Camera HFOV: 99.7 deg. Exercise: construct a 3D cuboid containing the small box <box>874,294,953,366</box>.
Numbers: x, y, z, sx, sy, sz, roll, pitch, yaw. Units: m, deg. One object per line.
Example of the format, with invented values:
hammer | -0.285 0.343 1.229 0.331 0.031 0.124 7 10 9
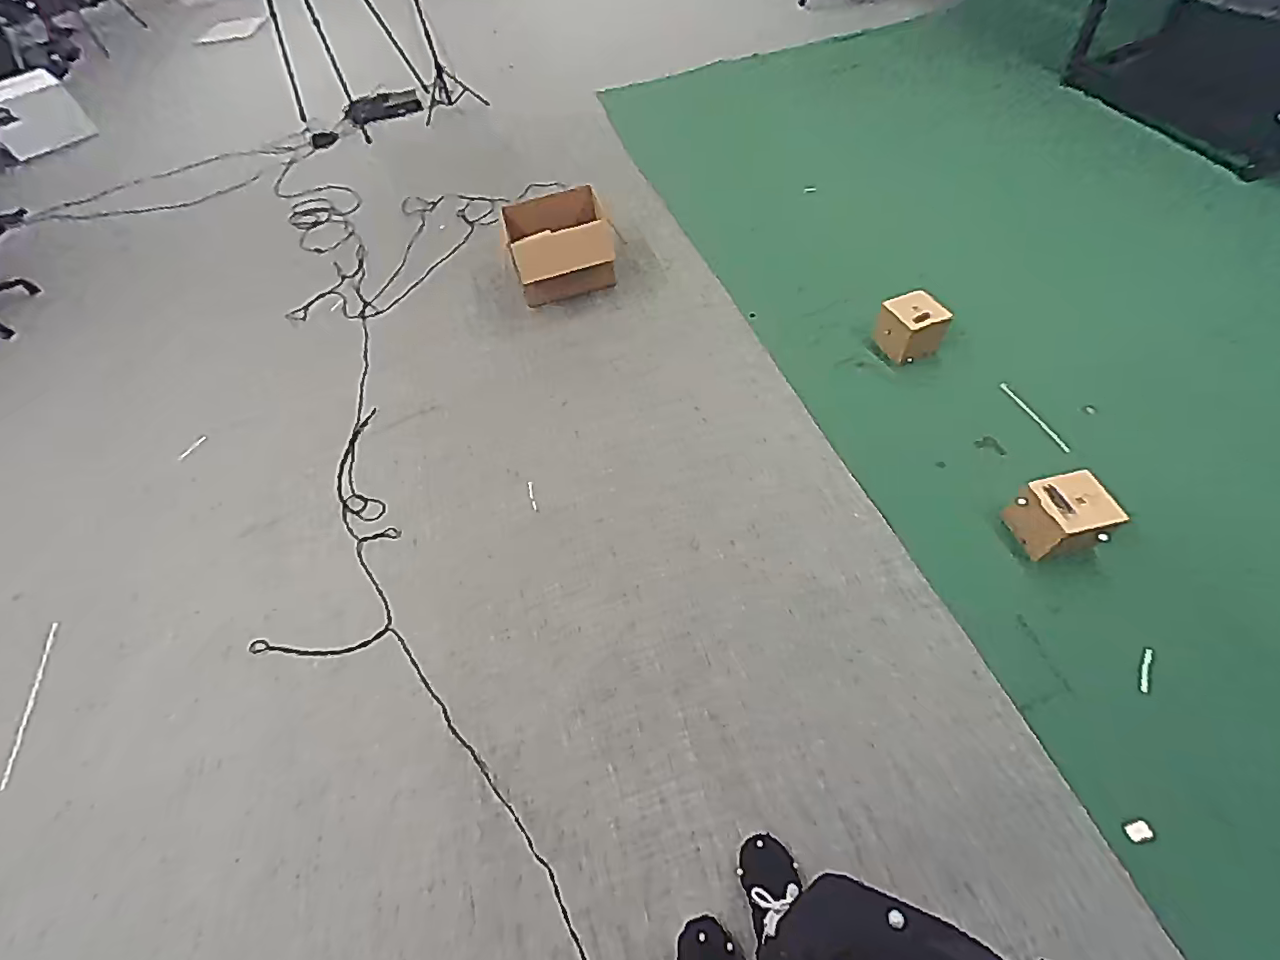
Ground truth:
small box | 0.980 -0.535 1.951 0.168 0.176 0.179 -20 54 -7
